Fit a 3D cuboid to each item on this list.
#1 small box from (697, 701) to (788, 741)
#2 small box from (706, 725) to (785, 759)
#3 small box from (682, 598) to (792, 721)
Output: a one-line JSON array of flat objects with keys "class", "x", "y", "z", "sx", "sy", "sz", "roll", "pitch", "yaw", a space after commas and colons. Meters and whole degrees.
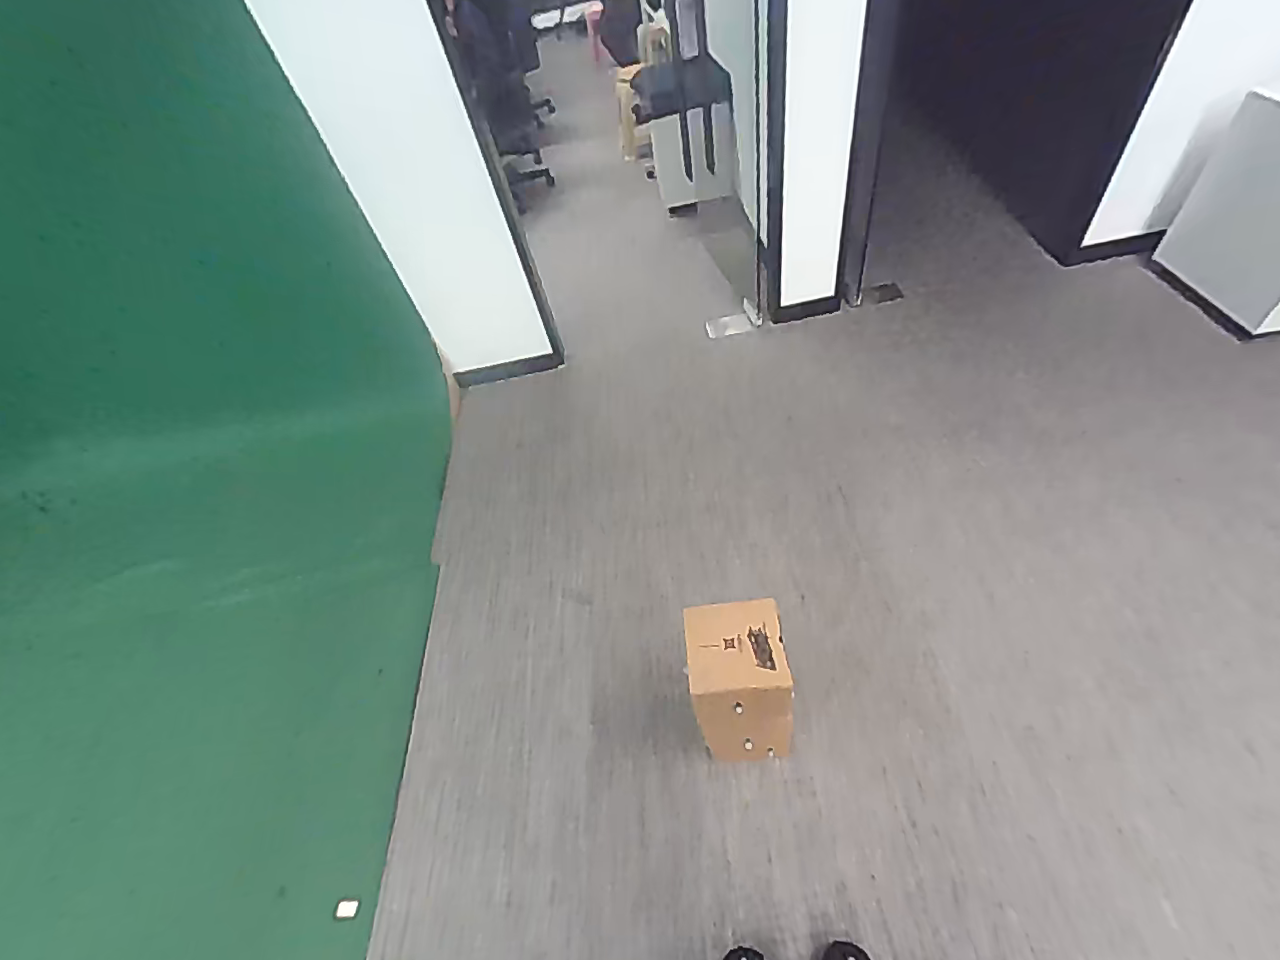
[{"class": "small box", "x": 0.210, "y": 0.449, "z": 1.154, "sx": 0.179, "sy": 0.176, "sz": 0.168, "roll": -5, "pitch": 50, "yaw": 8}, {"class": "small box", "x": 0.239, "y": 0.548, "z": 1.282, "sx": 0.179, "sy": 0.176, "sz": 0.168, "roll": -10, "pitch": 49, "yaw": 6}, {"class": "small box", "x": 0.179, "y": 0.345, "z": 1.031, "sx": 0.179, "sy": 0.176, "sz": 0.168, "roll": -9, "pitch": 50, "yaw": 4}]
